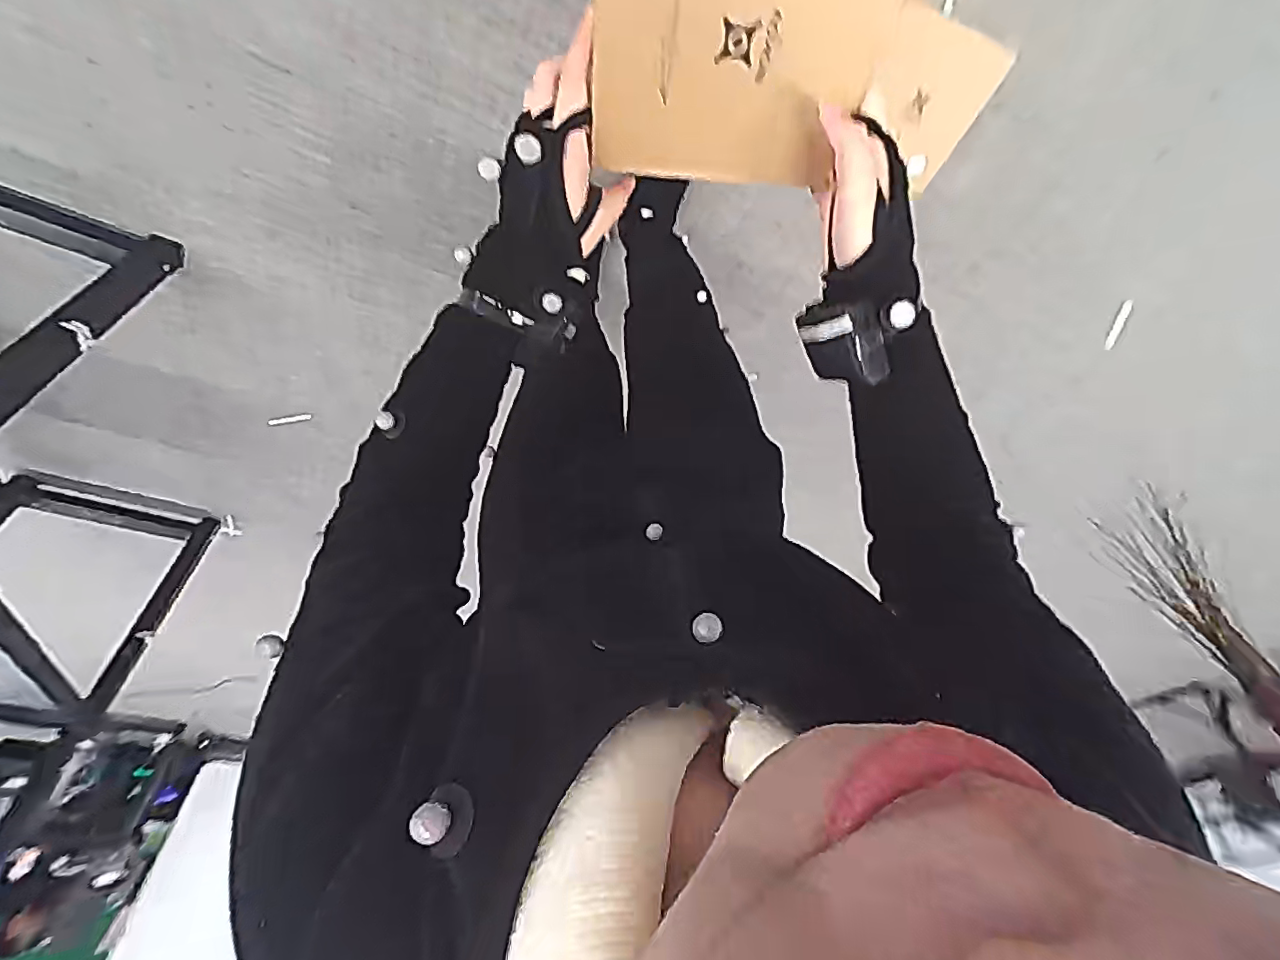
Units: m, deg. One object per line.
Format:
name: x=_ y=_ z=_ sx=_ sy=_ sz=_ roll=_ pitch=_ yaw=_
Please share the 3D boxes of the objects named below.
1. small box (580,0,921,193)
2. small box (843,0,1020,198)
small box: x=0.054 y=-0.311 z=0.334 sx=0.179 sy=0.176 sz=0.168 roll=1 pitch=151 yaw=-8
small box: x=0.353 y=-0.532 z=0.739 sx=0.168 sy=0.176 sz=0.179 roll=14 pitch=138 yaw=-15
